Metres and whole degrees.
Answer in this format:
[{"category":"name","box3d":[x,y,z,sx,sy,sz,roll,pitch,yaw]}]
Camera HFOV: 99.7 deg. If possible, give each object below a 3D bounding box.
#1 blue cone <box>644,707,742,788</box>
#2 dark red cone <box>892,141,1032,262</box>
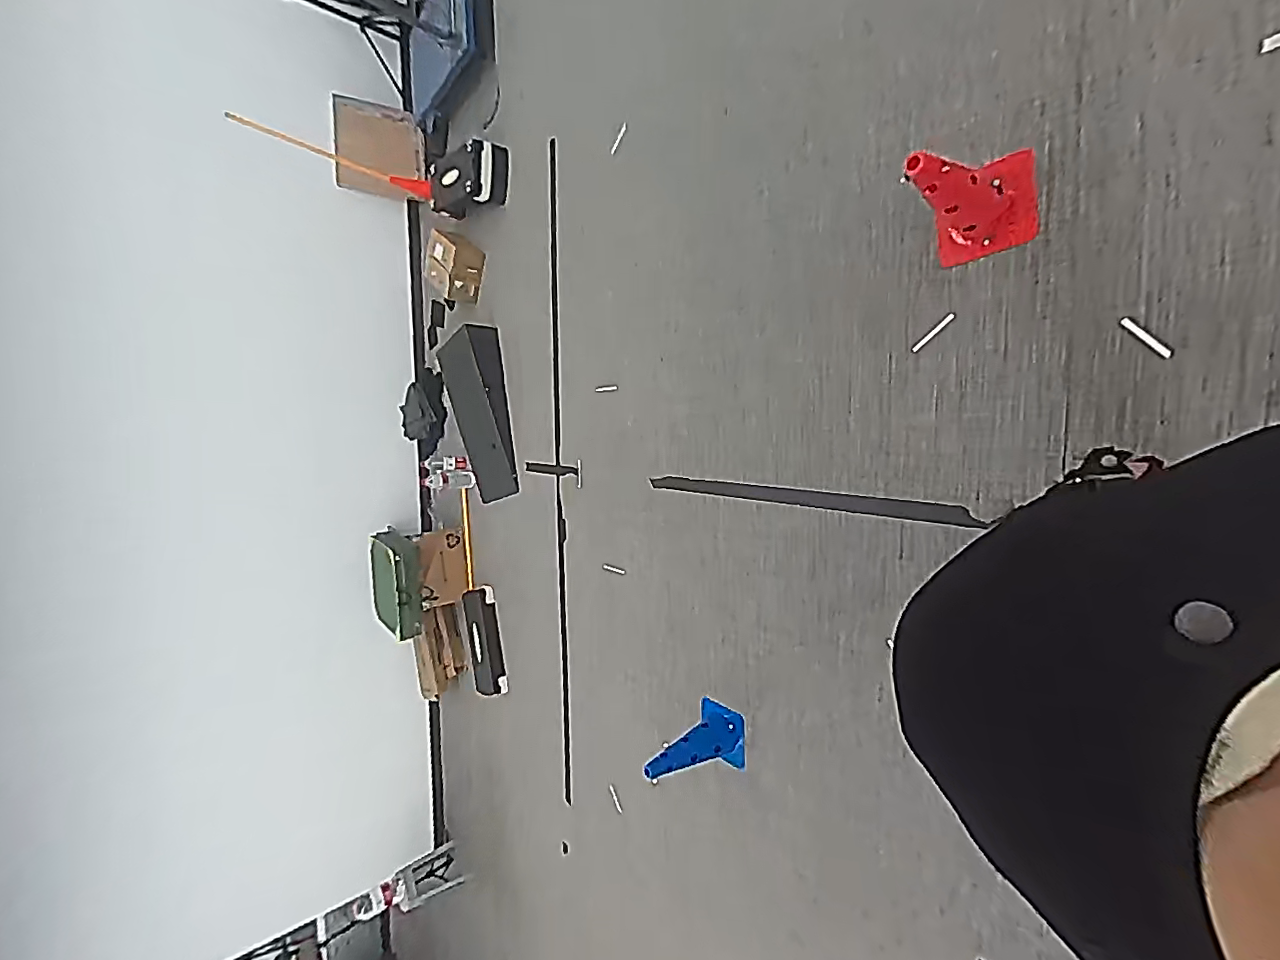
[{"category":"blue cone","box3d":[0.164,0.936,1.834,0.193,0.380,0.192,7,100,50]},{"category":"dark red cone","box3d":[0.616,-0.594,1.089,0.202,0.394,0.201,-6,90,51]}]
